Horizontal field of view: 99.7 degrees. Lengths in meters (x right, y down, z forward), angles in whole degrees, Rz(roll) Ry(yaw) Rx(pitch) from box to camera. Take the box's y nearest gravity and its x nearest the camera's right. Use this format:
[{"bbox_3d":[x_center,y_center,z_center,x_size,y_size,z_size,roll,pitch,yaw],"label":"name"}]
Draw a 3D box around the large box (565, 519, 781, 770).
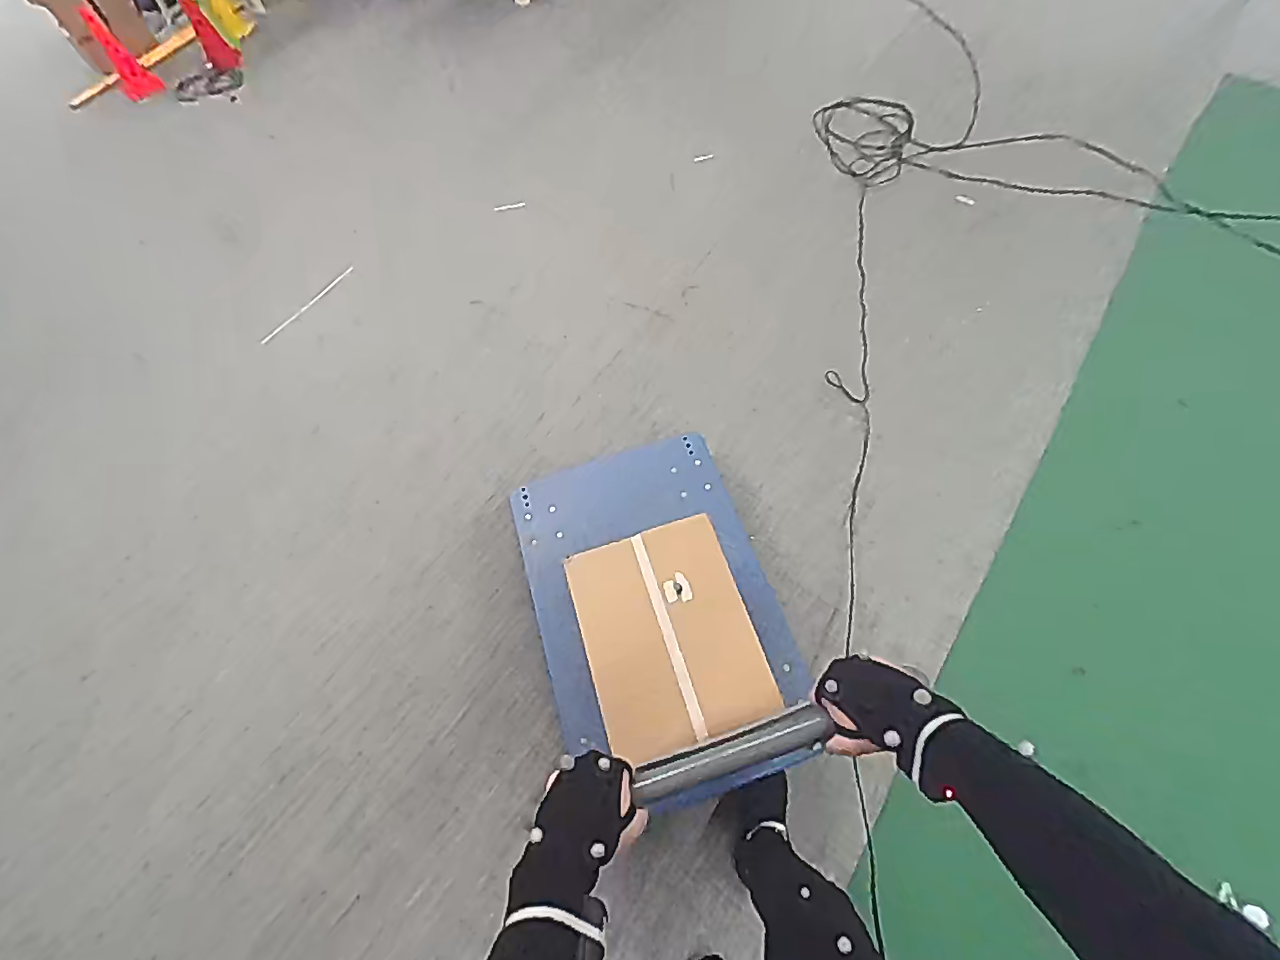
[{"bbox_3d":[0.063,0.361,1.170,0.320,0.320,0.408,-17,62,-4],"label":"large box"}]
